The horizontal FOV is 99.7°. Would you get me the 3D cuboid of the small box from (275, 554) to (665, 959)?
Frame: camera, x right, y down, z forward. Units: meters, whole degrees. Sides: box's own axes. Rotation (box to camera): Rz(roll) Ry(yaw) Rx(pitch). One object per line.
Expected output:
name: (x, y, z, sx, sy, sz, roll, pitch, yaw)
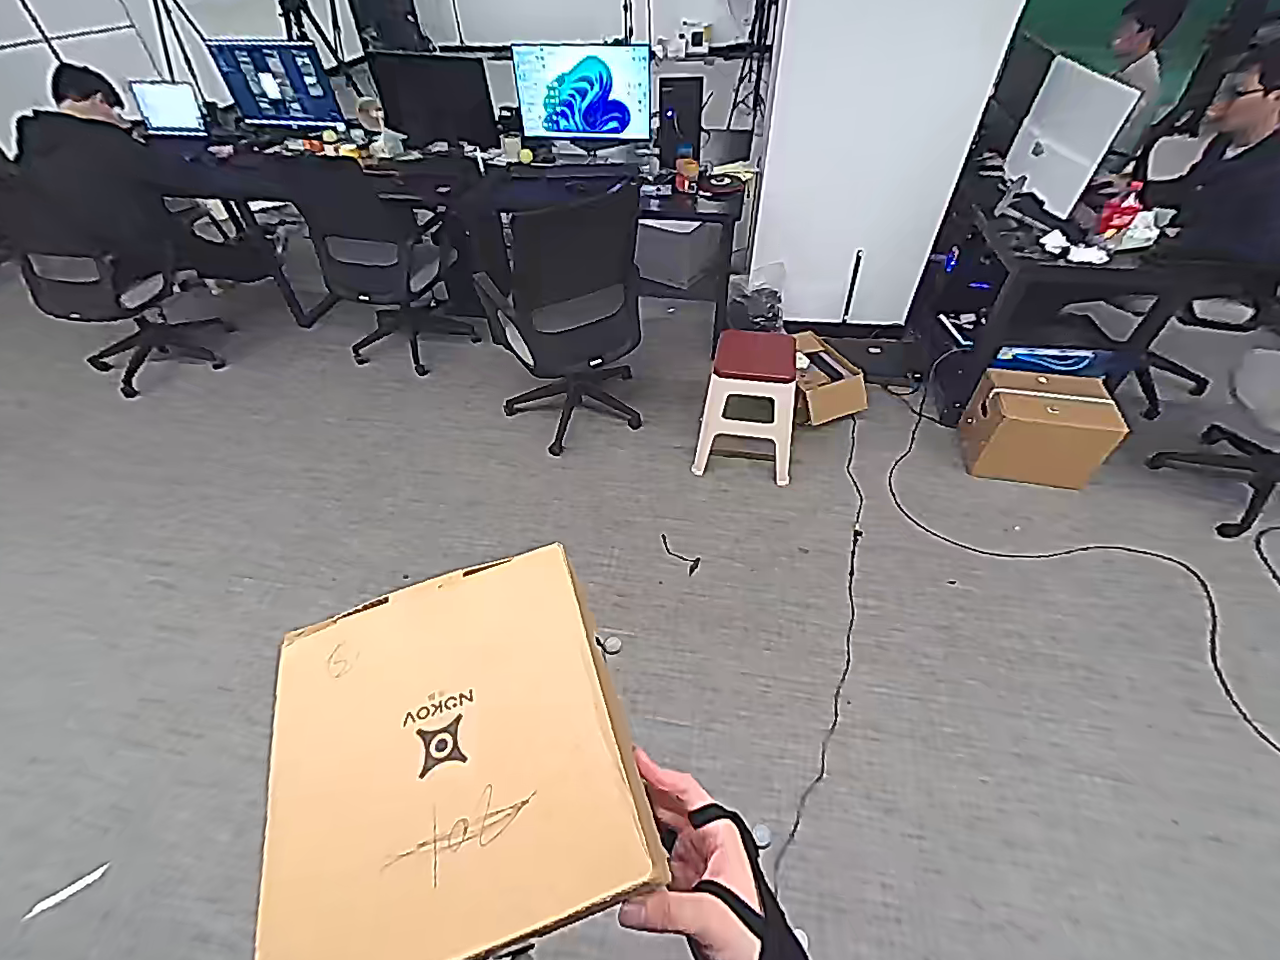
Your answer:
small box: (-0.090, 0.181, 0.341, 0.168, 0.176, 0.179, -18, 54, -7)
